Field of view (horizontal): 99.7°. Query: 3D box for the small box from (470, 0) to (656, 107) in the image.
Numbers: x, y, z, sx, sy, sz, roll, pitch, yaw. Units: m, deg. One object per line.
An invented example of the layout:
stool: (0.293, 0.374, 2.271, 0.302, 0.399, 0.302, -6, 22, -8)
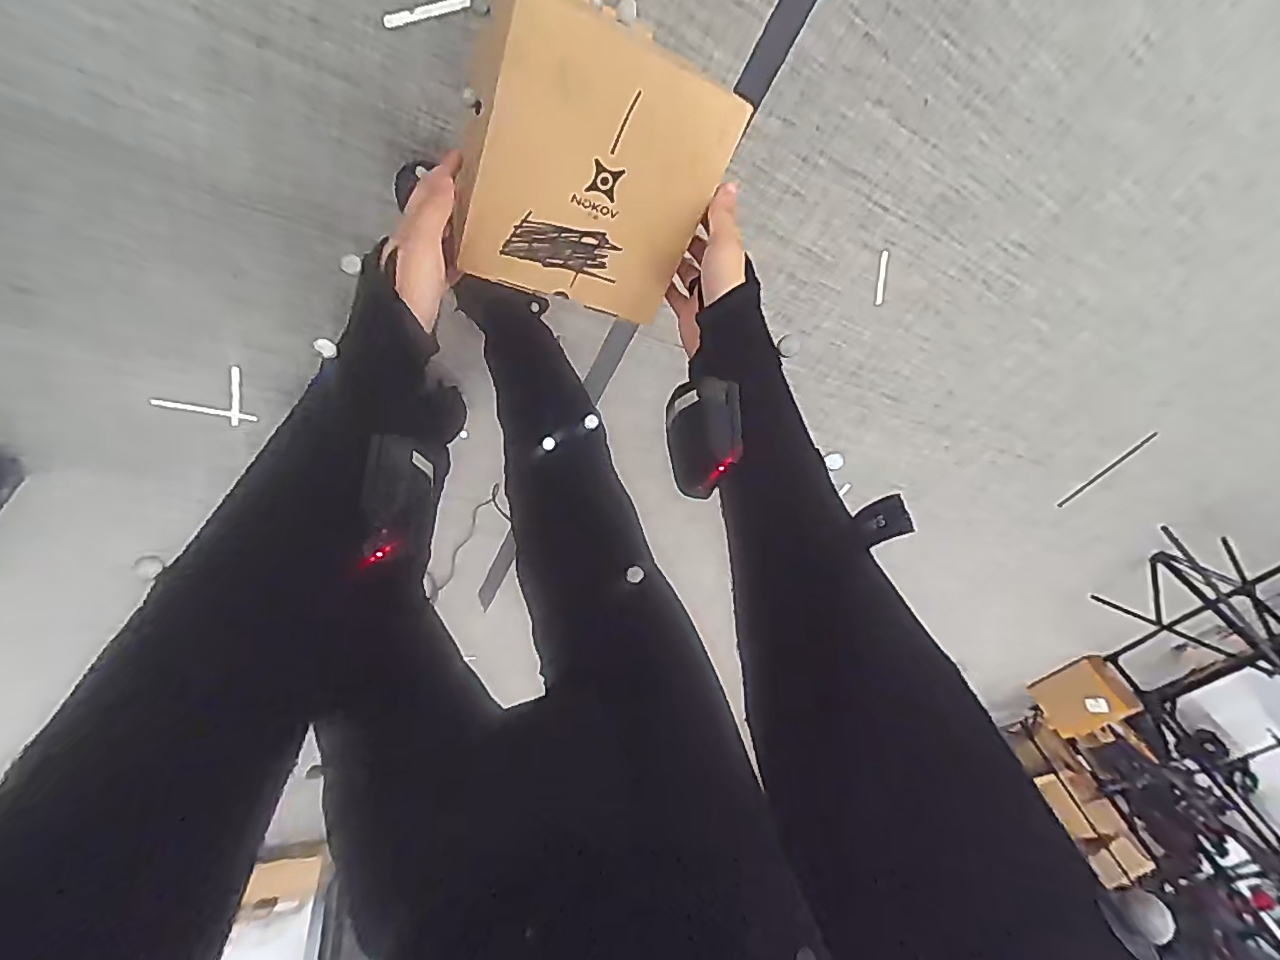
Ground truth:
small box: (-0.106, -0.494, 0.658, 0.168, 0.176, 0.179, 11, 132, -27)

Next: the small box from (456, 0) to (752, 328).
small box: (-0.045, -0.259, 0.437, 0.168, 0.176, 0.179, 9, 132, -27)
